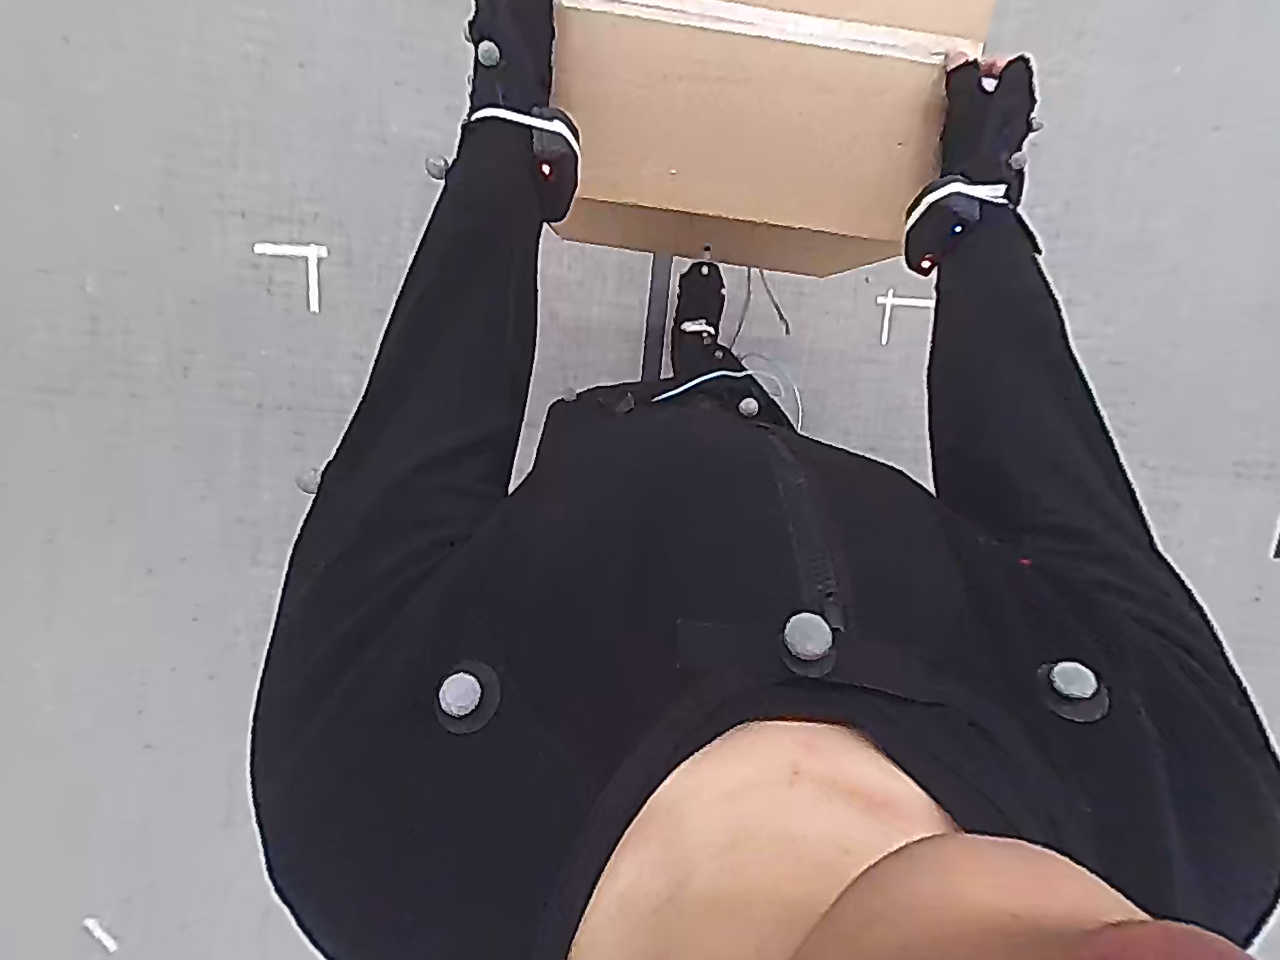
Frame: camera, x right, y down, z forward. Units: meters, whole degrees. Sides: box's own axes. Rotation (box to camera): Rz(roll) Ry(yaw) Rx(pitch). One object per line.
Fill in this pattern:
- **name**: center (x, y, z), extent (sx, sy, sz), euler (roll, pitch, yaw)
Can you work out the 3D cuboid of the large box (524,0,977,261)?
- **large box**: center (0.102, -0.454, 0.632), extent (0.408, 0.320, 0.320), euler (7, 104, -3)
